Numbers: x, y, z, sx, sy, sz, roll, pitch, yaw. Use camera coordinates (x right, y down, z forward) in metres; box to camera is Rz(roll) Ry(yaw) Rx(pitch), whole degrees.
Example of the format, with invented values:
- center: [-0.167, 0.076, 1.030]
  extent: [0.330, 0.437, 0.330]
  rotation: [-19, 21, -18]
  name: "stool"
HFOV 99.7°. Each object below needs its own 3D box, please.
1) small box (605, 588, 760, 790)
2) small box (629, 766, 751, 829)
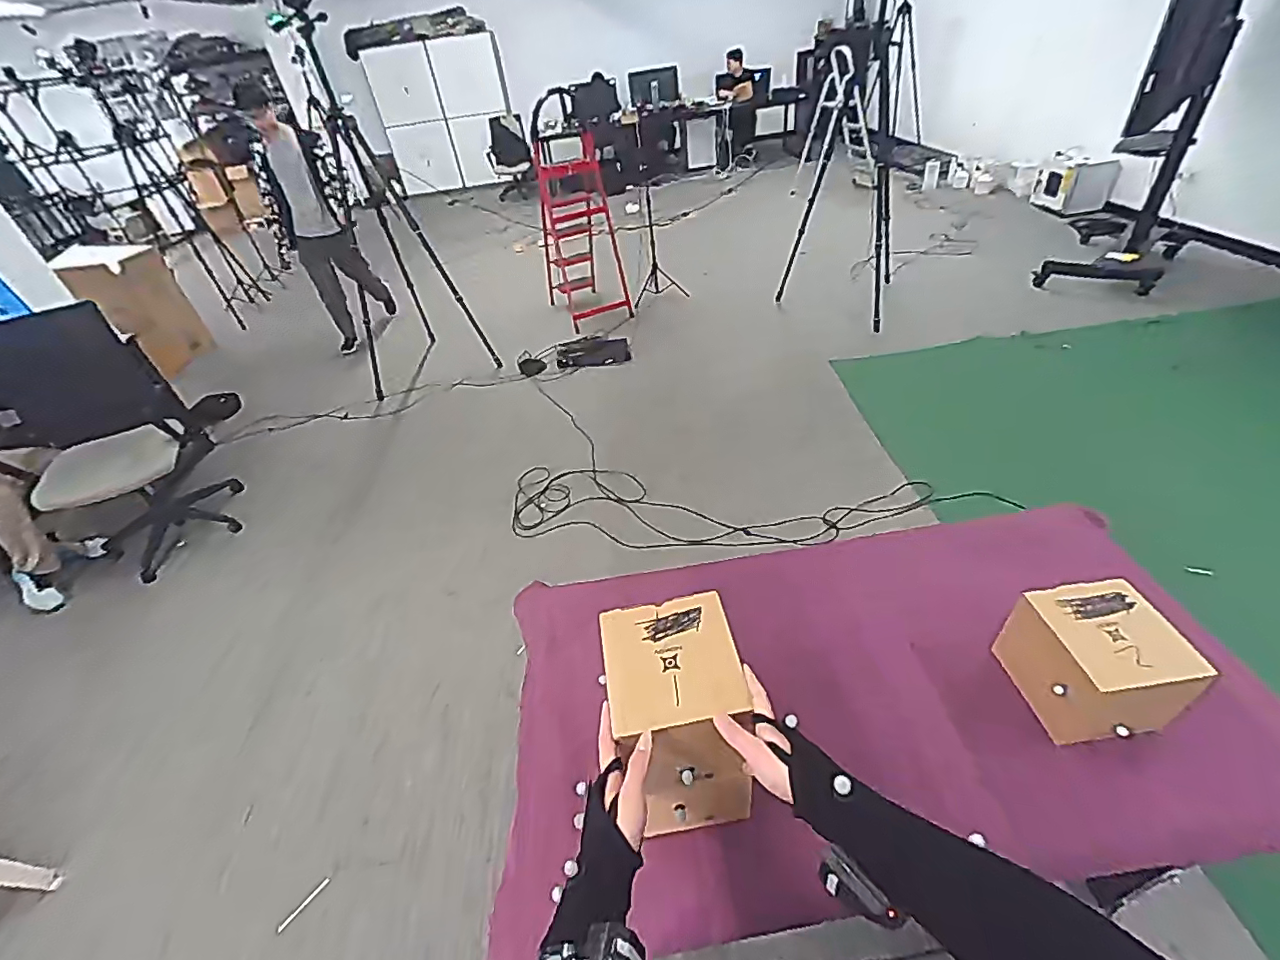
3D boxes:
- center: [0.051, 0.274, 0.713]
  extent: [0.168, 0.176, 0.179]
  rotation: [-11, 40, -2]
  name: "small box"
- center: [0.069, 0.406, 0.827]
  extent: [0.168, 0.176, 0.179]
  rotation: [-10, 39, -2]
  name: "small box"
